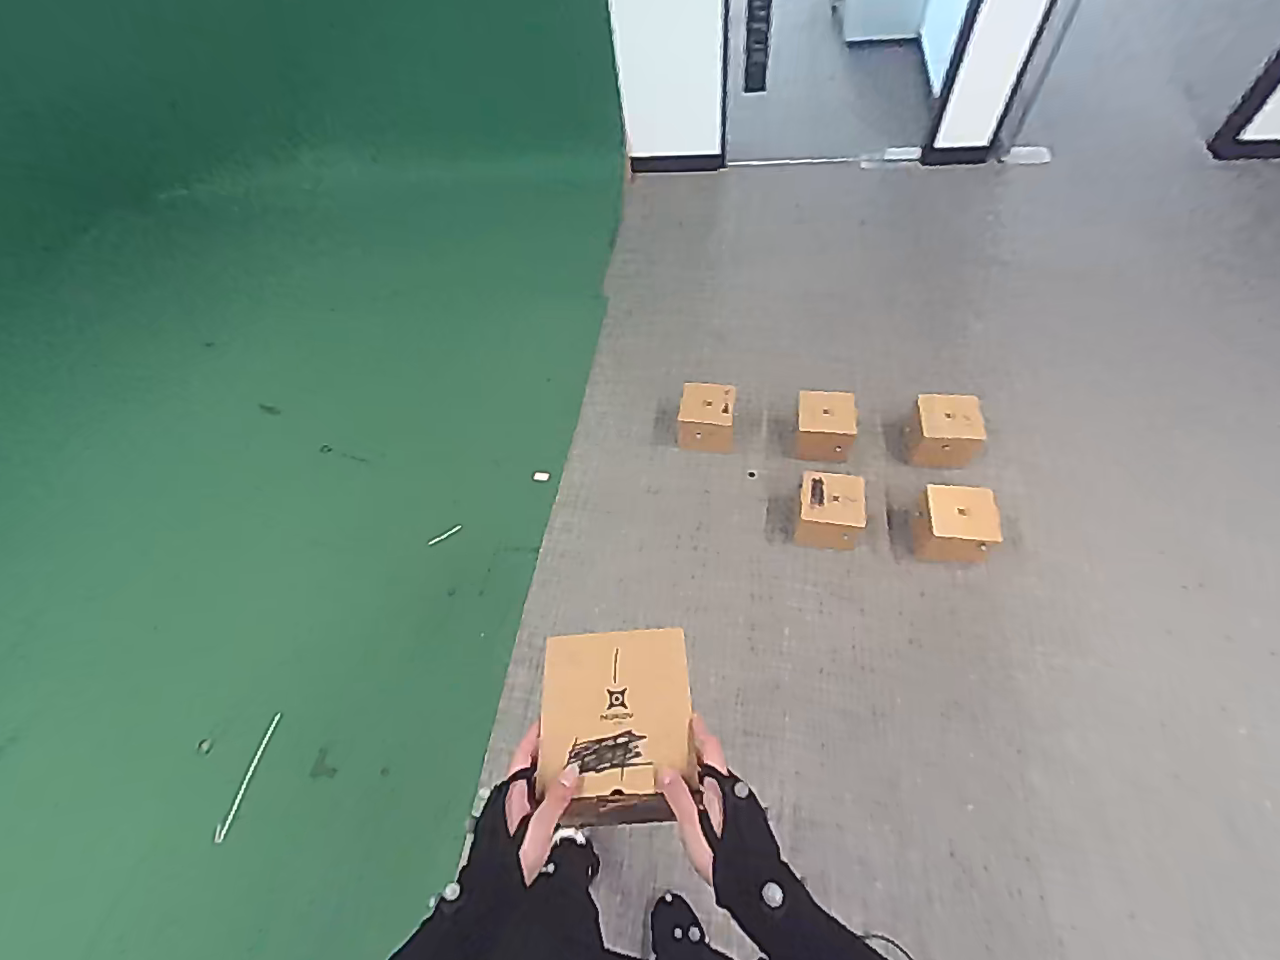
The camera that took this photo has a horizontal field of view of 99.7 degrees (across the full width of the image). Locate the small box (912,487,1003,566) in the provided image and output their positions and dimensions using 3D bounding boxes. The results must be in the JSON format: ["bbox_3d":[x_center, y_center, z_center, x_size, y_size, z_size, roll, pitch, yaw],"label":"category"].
[{"bbox_3d":[0.896,0.135,1.547,0.179,0.176,0.168,4,59,9],"label":"small box"}]

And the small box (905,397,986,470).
[{"bbox_3d":[0.952,-0.143,1.705,0.179,0.176,0.168,4,60,9],"label":"small box"}]

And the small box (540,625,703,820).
[{"bbox_3d":[-0.013,0.293,0.643,0.168,0.176,0.179,-4,48,2],"label":"small box"}]

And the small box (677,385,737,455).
[{"bbox_3d":[0.230,-0.200,1.834,0.179,0.176,0.168,7,60,12],"label":"small box"}]

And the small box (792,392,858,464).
[{"bbox_3d":[0.599,-0.165,1.766,0.179,0.176,0.168,4,59,10],"label":"small box"}]
